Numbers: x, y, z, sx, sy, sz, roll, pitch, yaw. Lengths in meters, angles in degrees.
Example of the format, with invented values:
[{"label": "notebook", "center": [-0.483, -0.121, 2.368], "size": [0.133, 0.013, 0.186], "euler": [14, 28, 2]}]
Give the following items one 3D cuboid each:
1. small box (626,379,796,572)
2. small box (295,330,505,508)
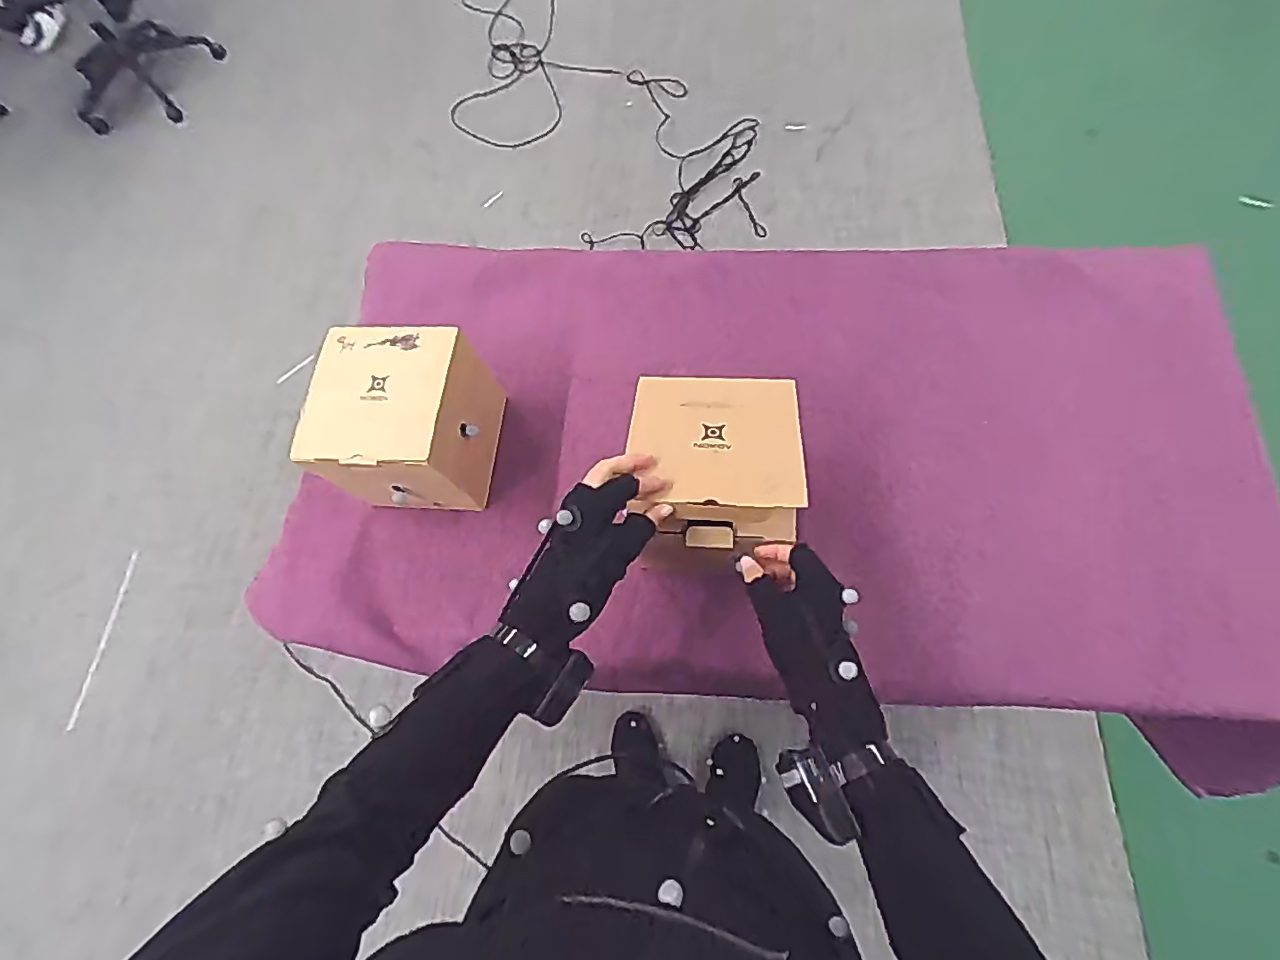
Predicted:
[{"label": "small box", "center": [0.083, 0.003, 0.618], "size": [0.168, 0.176, 0.179], "euler": [3, 69, 7]}, {"label": "small box", "center": [-0.286, -0.069, 0.688], "size": [0.168, 0.176, 0.179], "euler": [2, 70, 7]}]
